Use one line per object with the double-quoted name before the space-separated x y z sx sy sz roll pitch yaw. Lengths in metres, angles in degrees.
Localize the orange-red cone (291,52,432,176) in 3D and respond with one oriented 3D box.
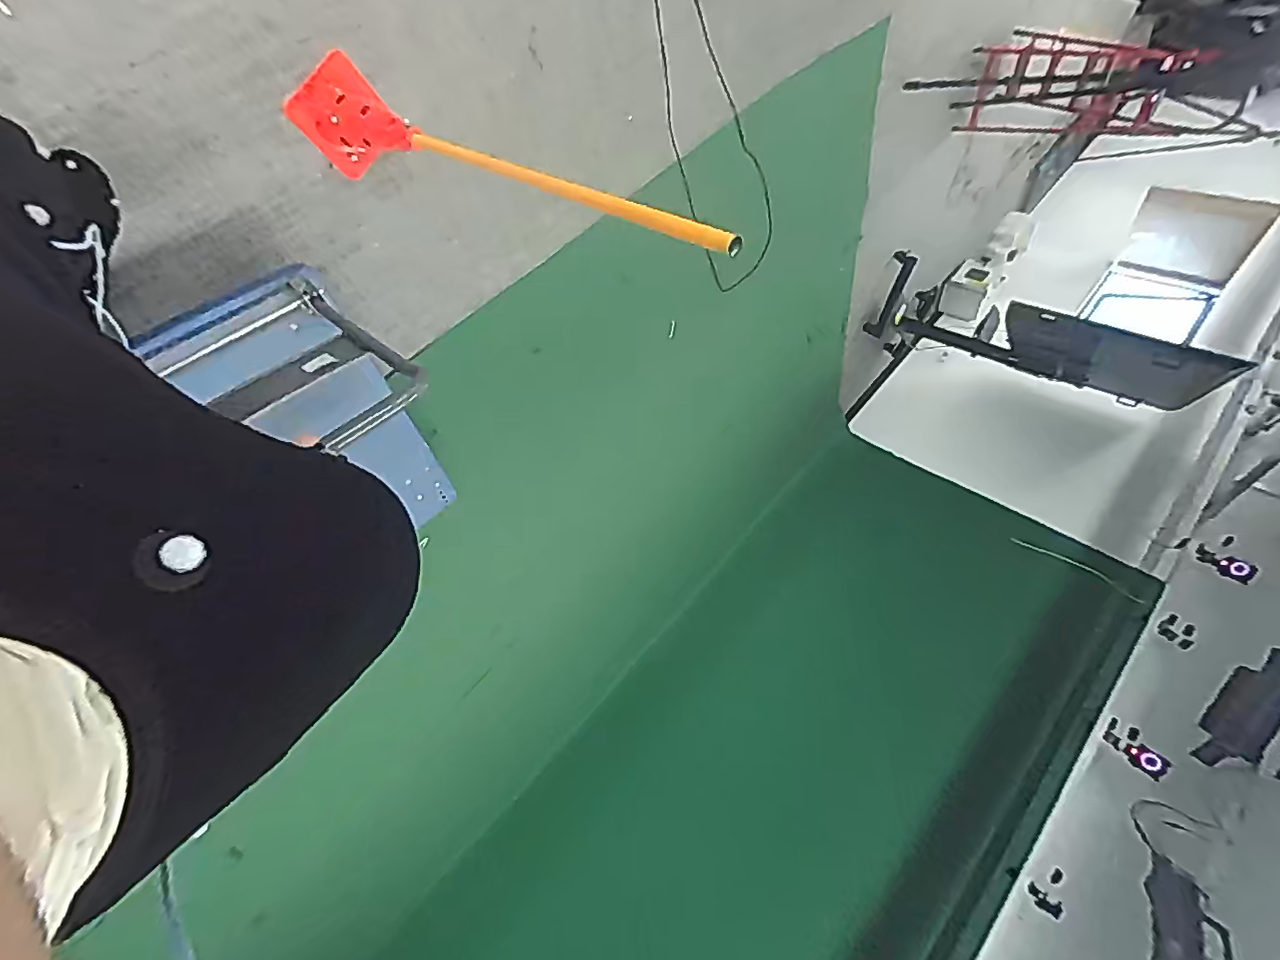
"orange-red cone" -0.574 -0.792 1.210 0.199 0.360 0.198 -54 149 -6
